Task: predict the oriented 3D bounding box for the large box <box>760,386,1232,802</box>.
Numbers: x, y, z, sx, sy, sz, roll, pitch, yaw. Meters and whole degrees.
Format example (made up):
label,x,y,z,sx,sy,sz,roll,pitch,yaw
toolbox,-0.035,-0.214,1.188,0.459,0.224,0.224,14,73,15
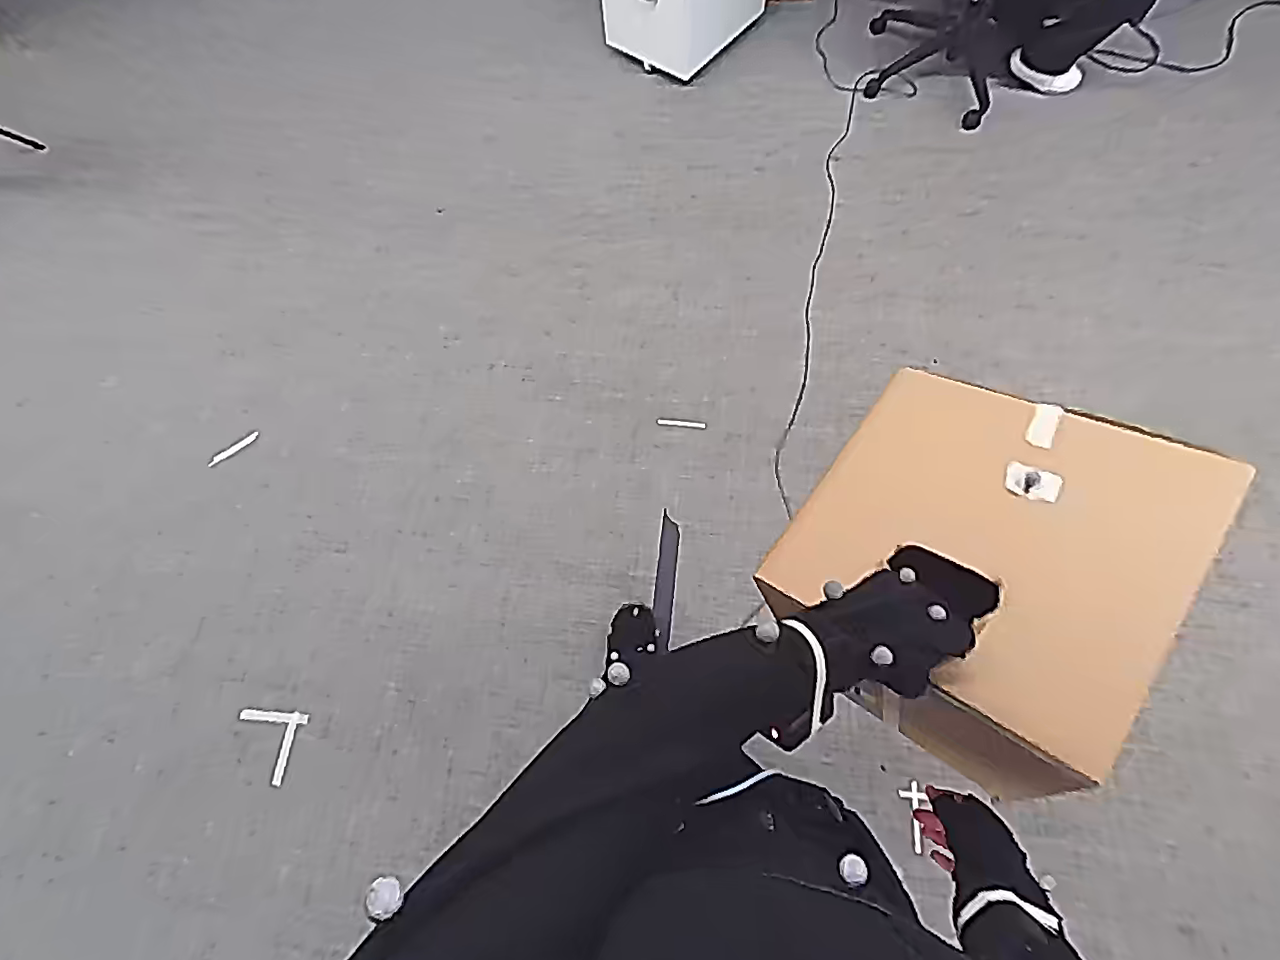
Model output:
label,x,y,z,sx,sy,sz,roll,pitch,yaw
large box,0.401,0.150,0.675,0.320,0.408,0.320,30,77,37
